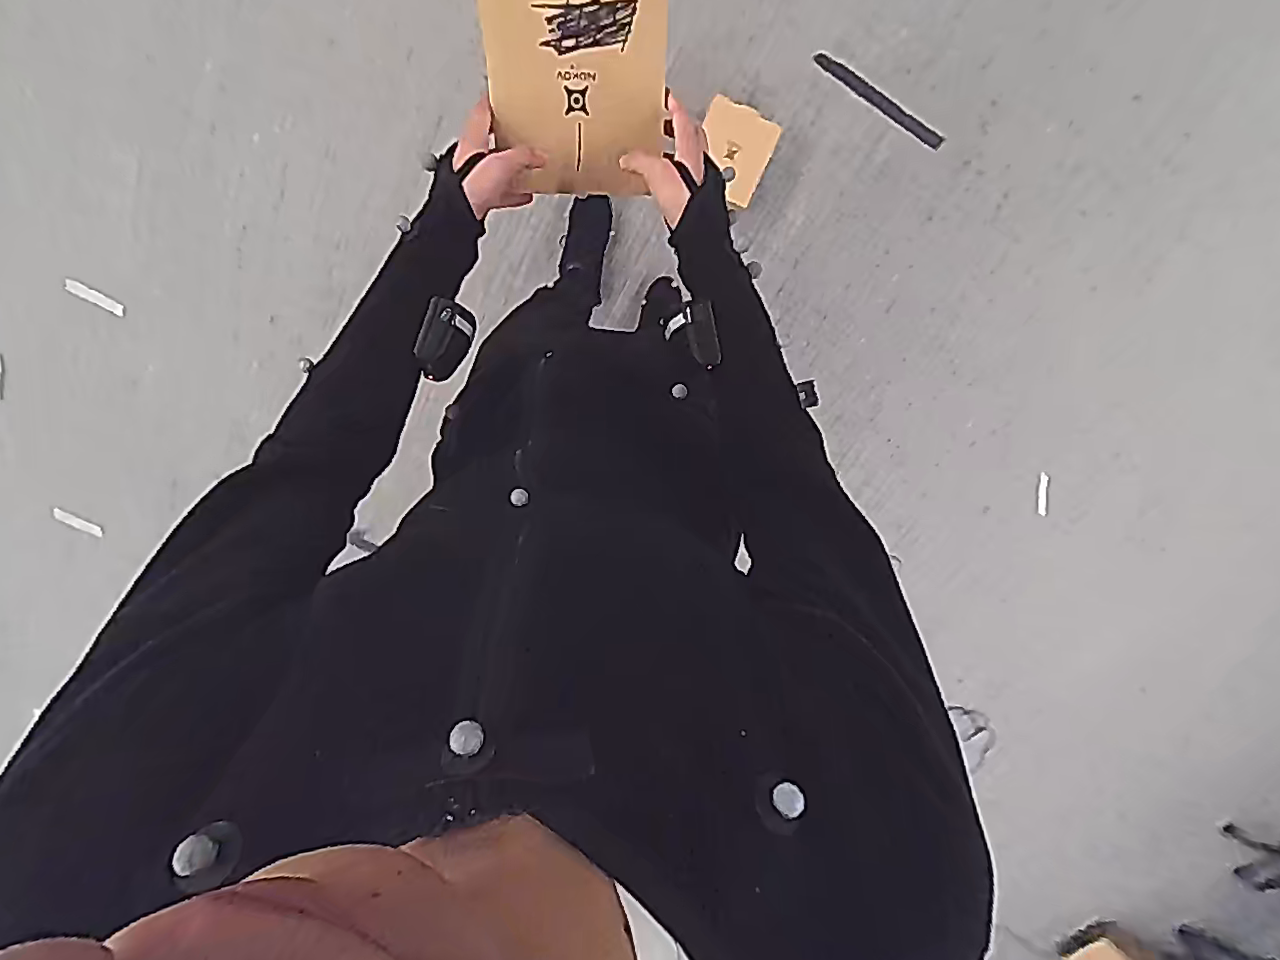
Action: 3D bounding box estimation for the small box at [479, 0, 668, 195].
[{"bbox_3d":[-0.063,-0.407,0.566,0.168,0.176,0.179,-1,126,-2],"label":"small box"}]

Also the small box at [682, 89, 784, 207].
[{"bbox_3d":[0.205,-0.763,1.264,0.168,0.176,0.179,23,114,-9],"label":"small box"}]
